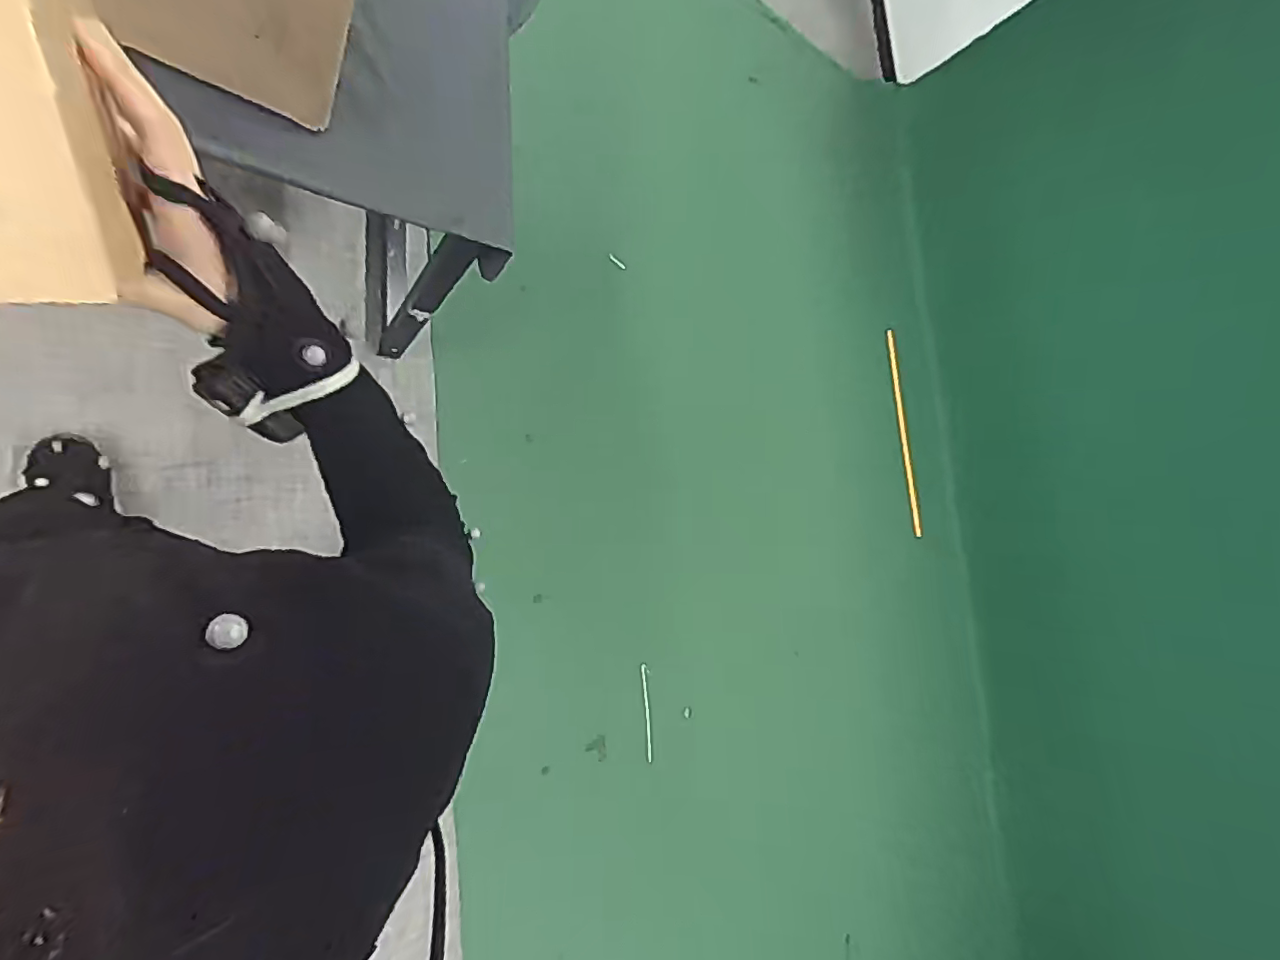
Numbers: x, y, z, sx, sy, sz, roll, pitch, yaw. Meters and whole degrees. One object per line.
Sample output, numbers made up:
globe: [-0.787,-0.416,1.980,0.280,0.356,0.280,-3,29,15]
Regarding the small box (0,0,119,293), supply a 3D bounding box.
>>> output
small box: [-0.329,-0.177,0.198,0.168,0.176,0.179,-10,120,-34]
